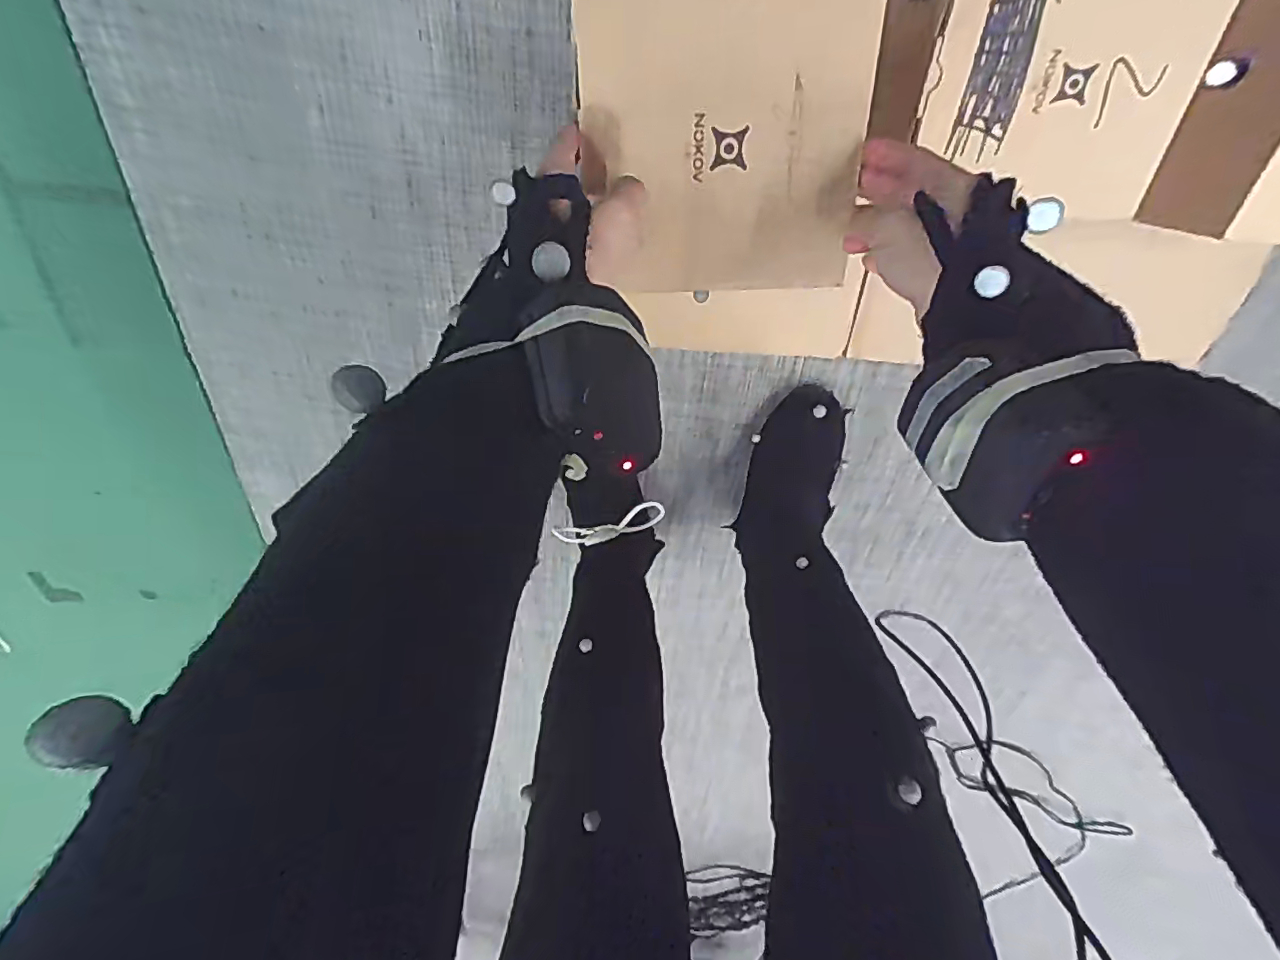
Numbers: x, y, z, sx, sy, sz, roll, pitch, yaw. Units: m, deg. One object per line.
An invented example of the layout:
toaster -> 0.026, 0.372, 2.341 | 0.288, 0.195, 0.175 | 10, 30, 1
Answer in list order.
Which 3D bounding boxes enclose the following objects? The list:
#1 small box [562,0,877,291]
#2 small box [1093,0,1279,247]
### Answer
small box -> 0.044, -0.240, 0.400 | 0.179, 0.176, 0.168 | -3, 119, -1
small box -> 0.525, -0.280, 0.426 | 0.179, 0.176, 0.168 | 5, 123, 1
